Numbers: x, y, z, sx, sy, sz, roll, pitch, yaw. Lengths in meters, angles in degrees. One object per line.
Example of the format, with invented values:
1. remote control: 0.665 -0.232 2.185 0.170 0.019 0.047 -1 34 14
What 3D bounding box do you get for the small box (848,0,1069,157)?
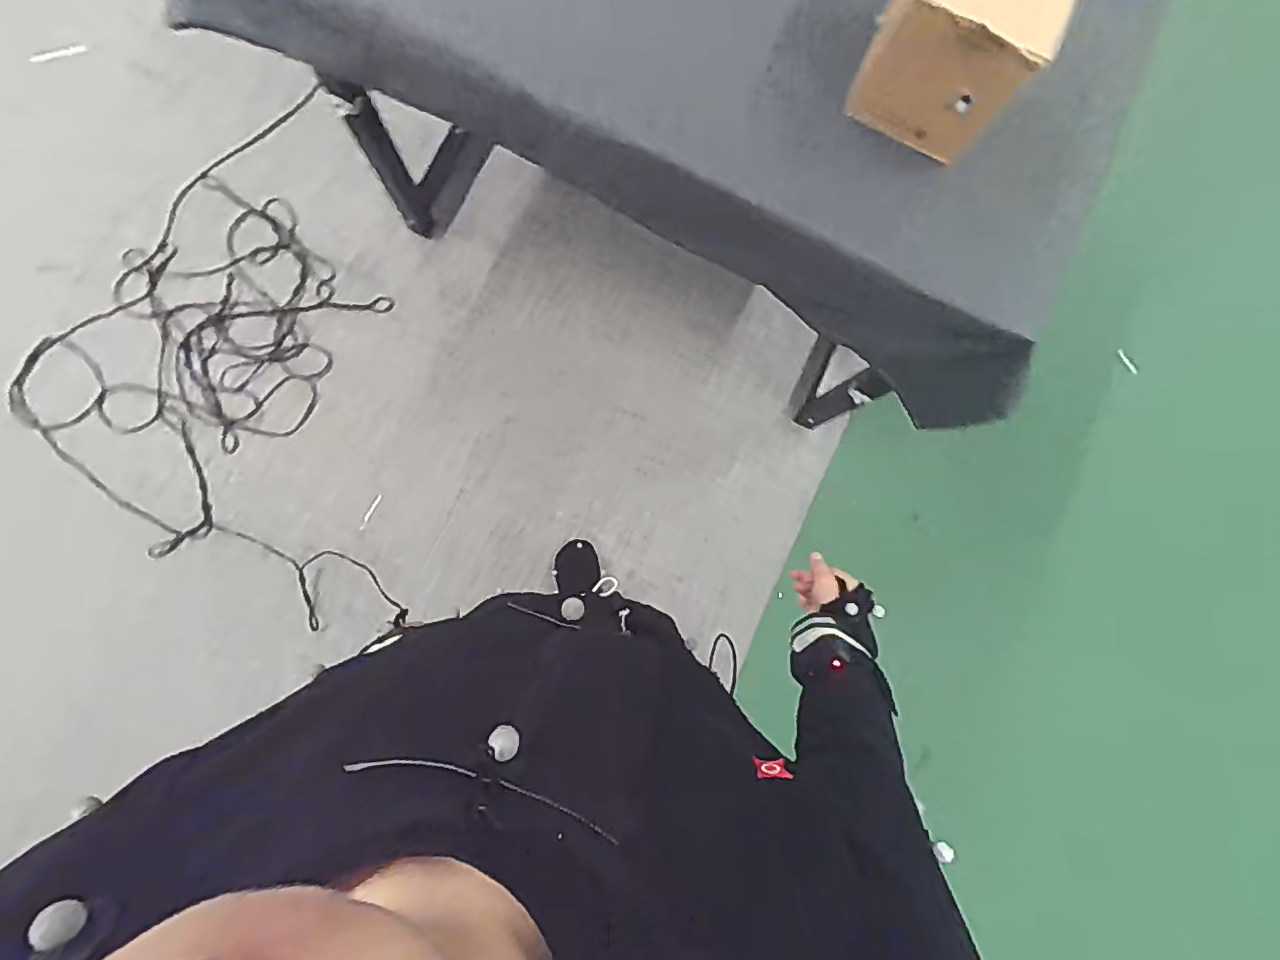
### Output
1. small box: 0.382 -0.546 0.660 0.168 0.176 0.179 24 82 -4
